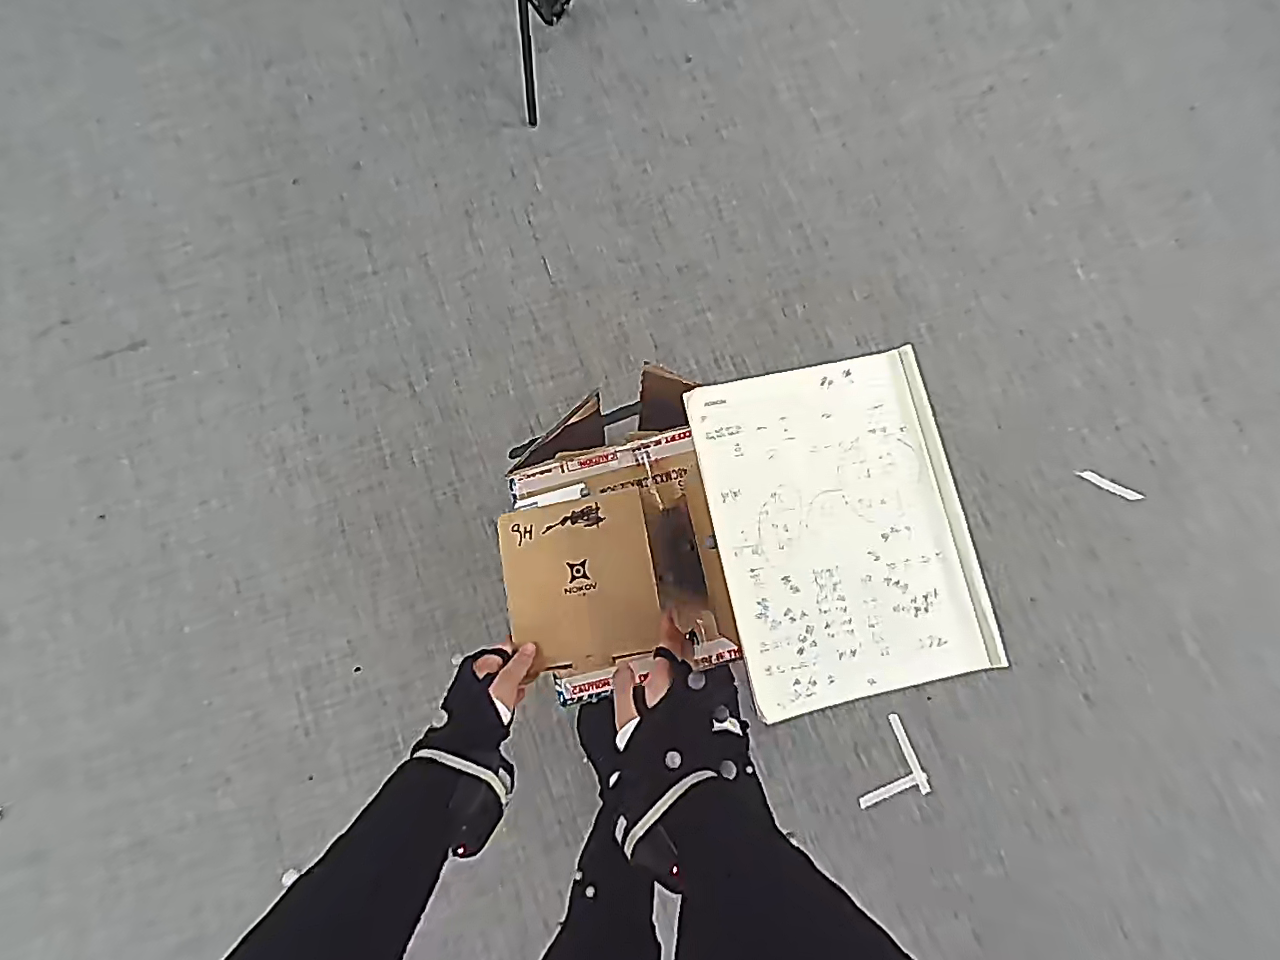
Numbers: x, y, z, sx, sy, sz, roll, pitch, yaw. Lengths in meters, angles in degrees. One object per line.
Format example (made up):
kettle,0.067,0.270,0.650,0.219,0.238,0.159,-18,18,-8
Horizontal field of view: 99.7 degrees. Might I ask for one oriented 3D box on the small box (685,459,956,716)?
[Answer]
small box,0.148,0.094,0.509,0.168,0.176,0.179,-12,83,-5
